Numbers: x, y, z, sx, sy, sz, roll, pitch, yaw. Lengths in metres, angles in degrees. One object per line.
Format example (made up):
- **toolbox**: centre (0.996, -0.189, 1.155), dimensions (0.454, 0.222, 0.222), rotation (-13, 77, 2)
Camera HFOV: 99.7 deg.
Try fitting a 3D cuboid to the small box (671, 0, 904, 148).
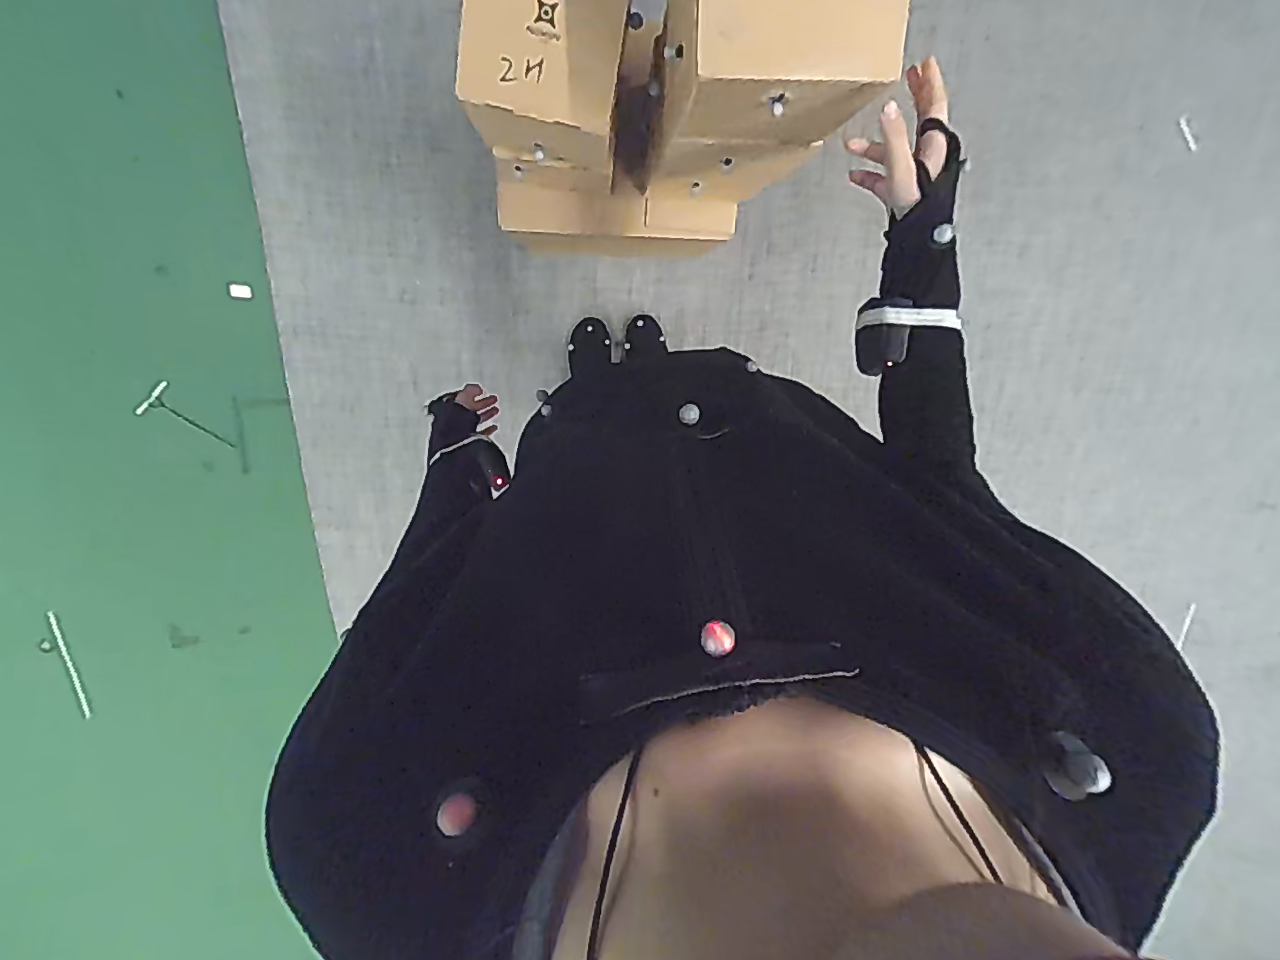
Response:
- **small box**: centre (0.123, -0.426, 0.505), dimensions (0.179, 0.176, 0.168), rotation (-1, 107, -4)
